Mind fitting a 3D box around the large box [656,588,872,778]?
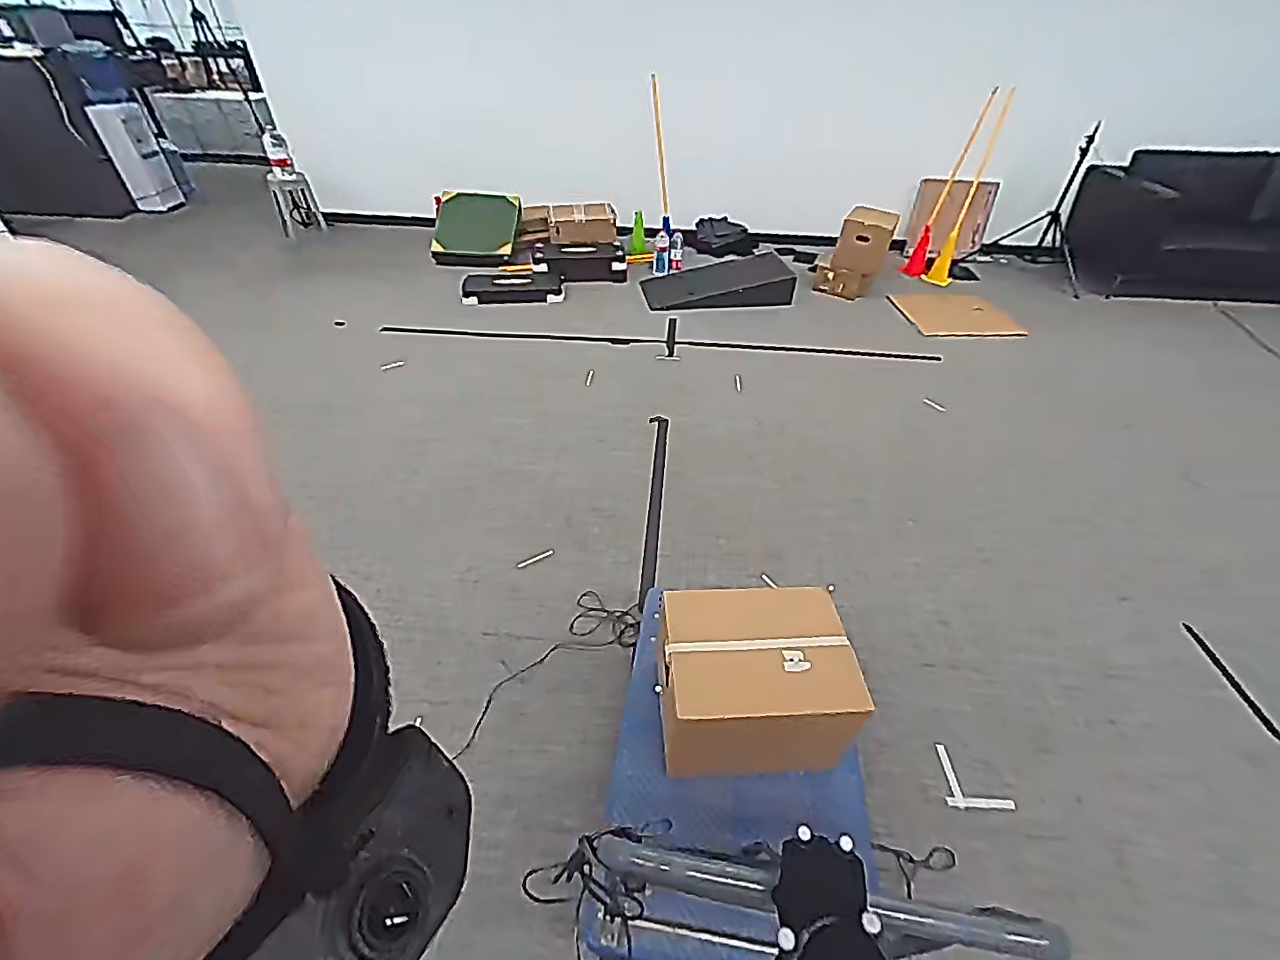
[{"bbox_3d":[0.257,0.477,1.281,0.408,0.320,0.320,0,42,-4],"label":"large box"}]
